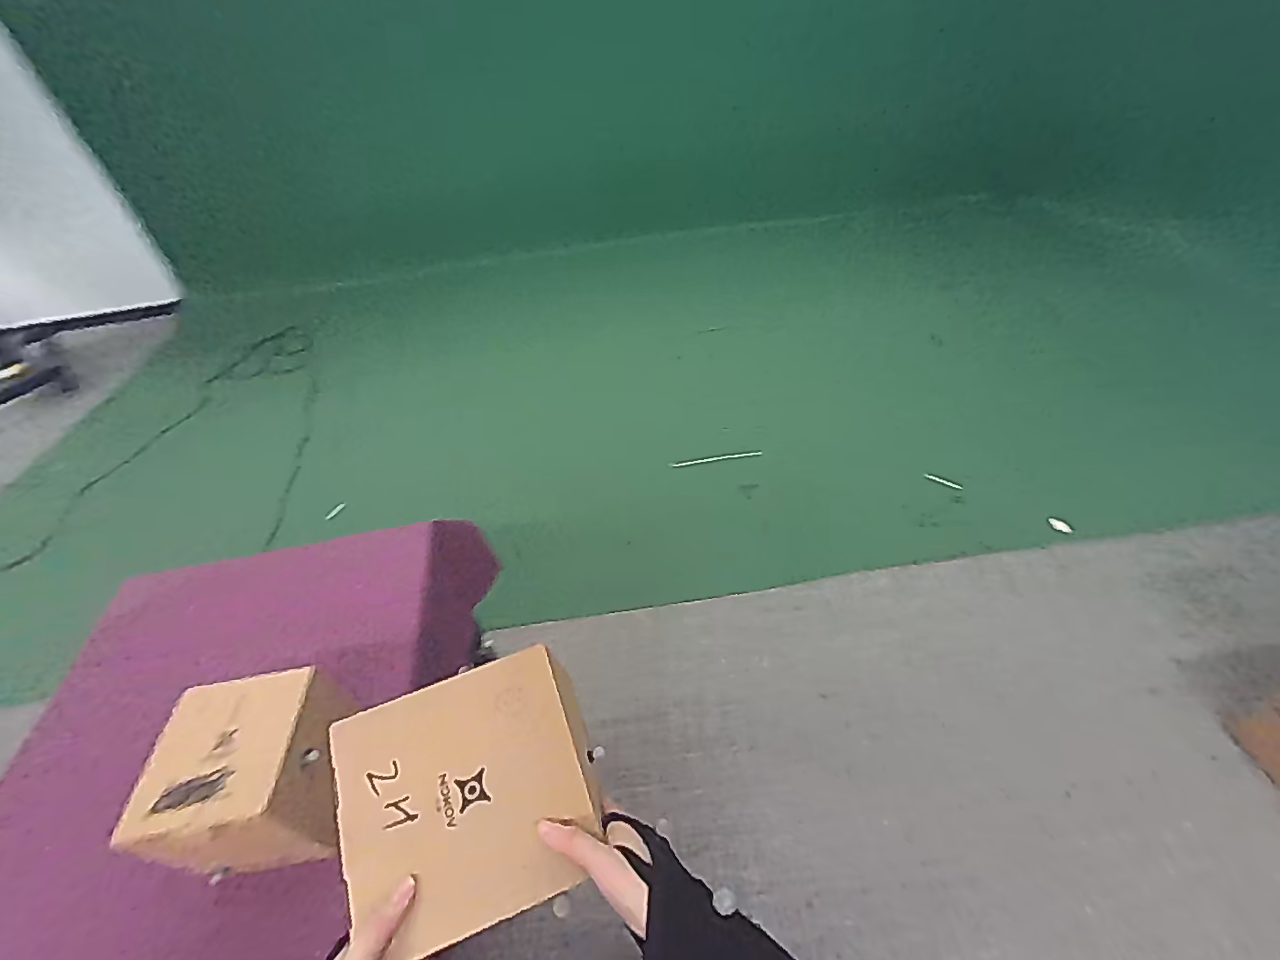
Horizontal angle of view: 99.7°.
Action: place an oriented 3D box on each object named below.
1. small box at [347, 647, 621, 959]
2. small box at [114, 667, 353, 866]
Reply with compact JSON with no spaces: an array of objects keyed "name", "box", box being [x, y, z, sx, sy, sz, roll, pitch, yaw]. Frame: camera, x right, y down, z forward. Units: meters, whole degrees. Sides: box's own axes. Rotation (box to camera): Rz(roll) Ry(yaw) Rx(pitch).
[{"name":"small box","box":[-0.120,0.265,0.468,0.179,0.176,0.168,-18,62,-7]},{"name":"small box","box":[-0.486,0.371,0.694,0.168,0.176,0.179,-10,43,-2]}]
